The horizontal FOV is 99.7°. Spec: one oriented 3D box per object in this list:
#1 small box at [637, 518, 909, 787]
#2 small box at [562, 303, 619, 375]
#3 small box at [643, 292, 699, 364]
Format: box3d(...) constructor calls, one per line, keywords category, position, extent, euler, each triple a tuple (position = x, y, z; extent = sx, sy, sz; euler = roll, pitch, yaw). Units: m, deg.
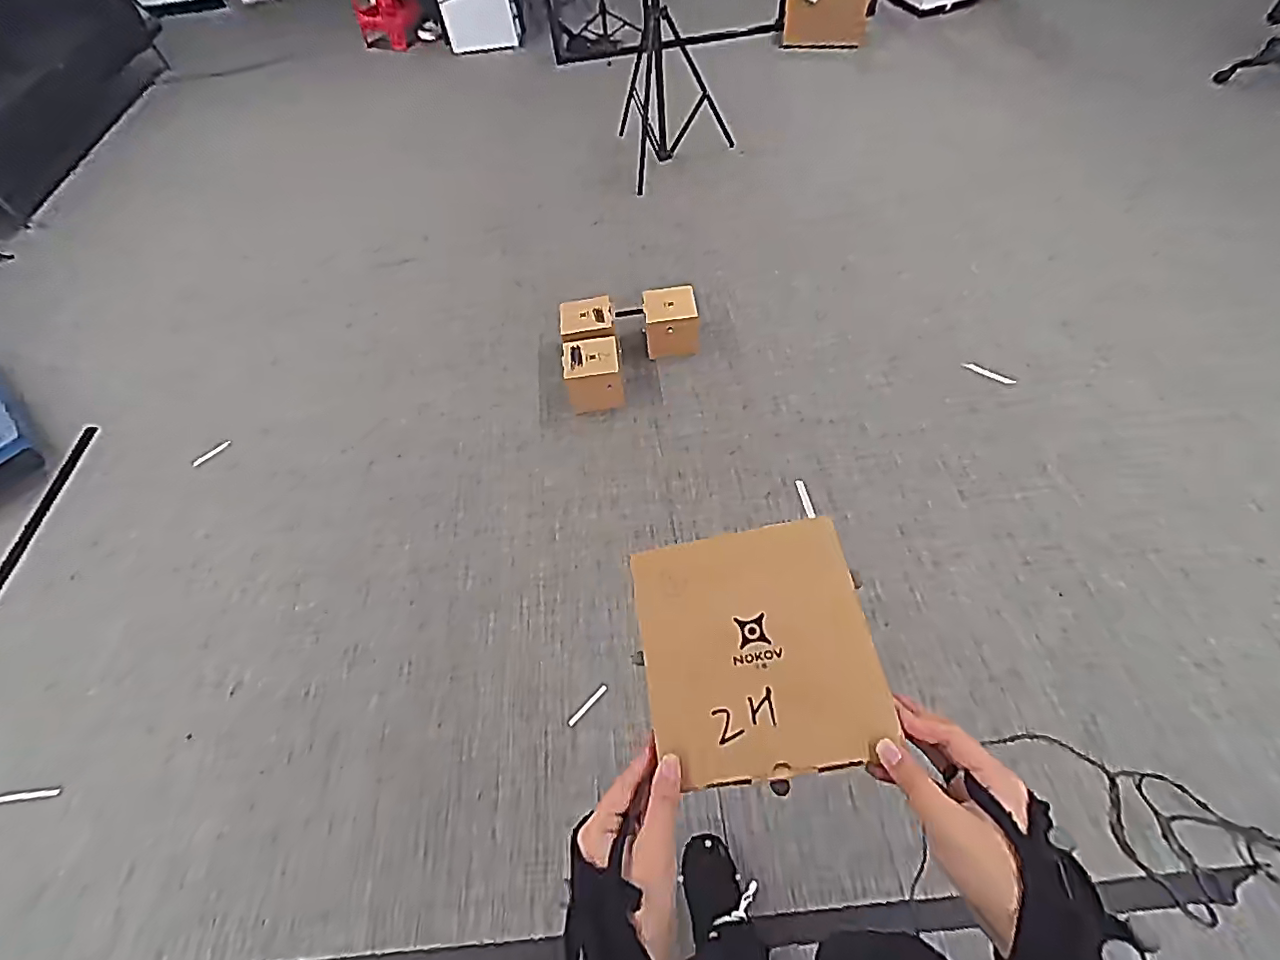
box3d(category="small box", position=(0.102, 0.158, 0.472), extent=(0.168, 0.176, 0.179), euler=(-13, 60, 6))
box3d(category="small box", position=(-0.172, -0.494, 1.906), extent=(0.179, 0.176, 0.168), euler=(-8, 56, 2))
box3d(category="small box", position=(0.110, -0.532, 1.900), extent=(0.179, 0.176, 0.168), euler=(-7, 56, 2))
